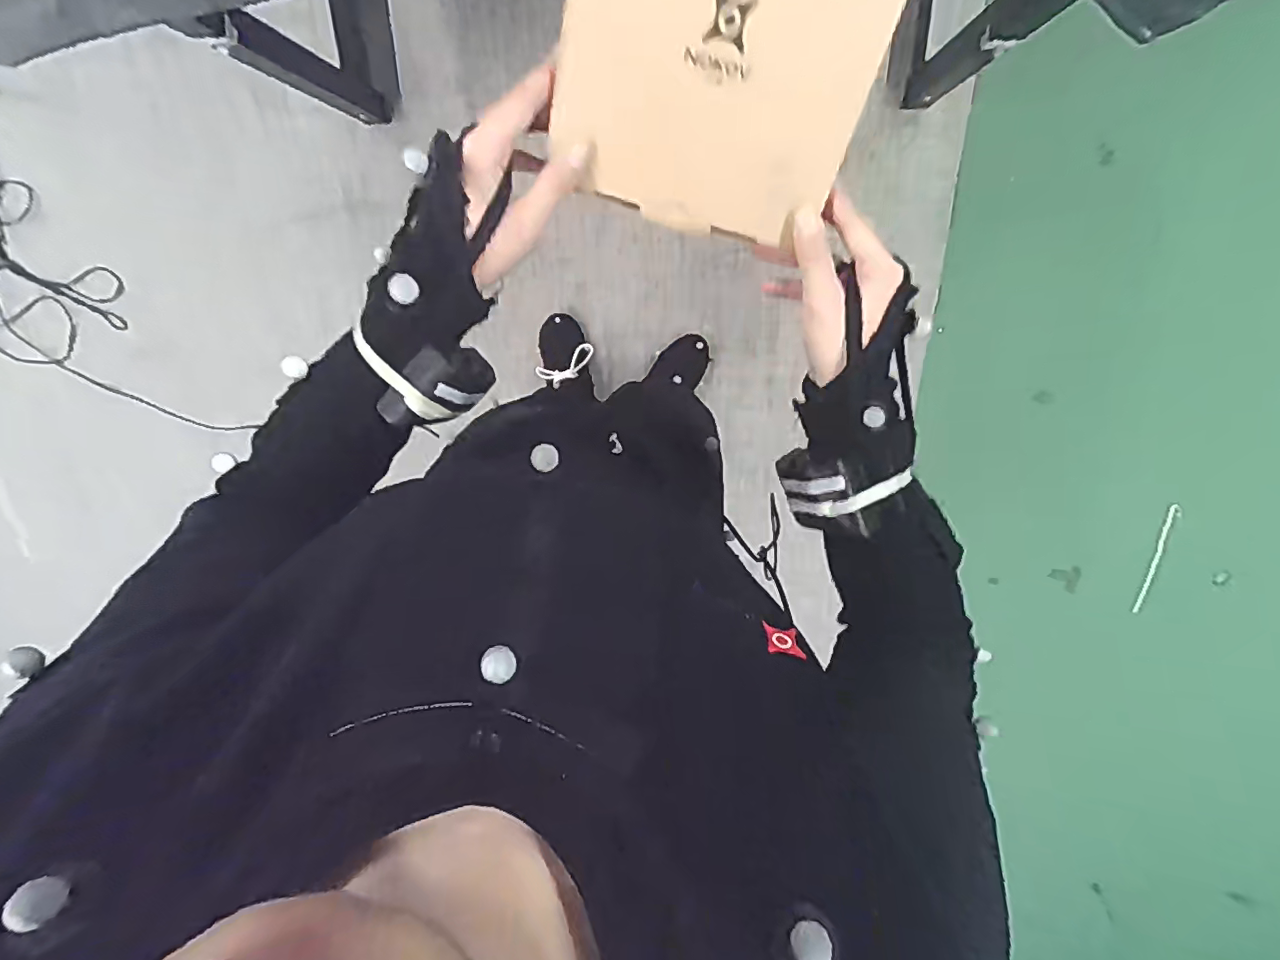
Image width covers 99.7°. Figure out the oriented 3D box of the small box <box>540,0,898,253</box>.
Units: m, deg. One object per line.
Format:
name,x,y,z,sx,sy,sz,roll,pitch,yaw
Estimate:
small box,0.045,-0.269,0.340,0.168,0.176,0.179,13,124,-4
